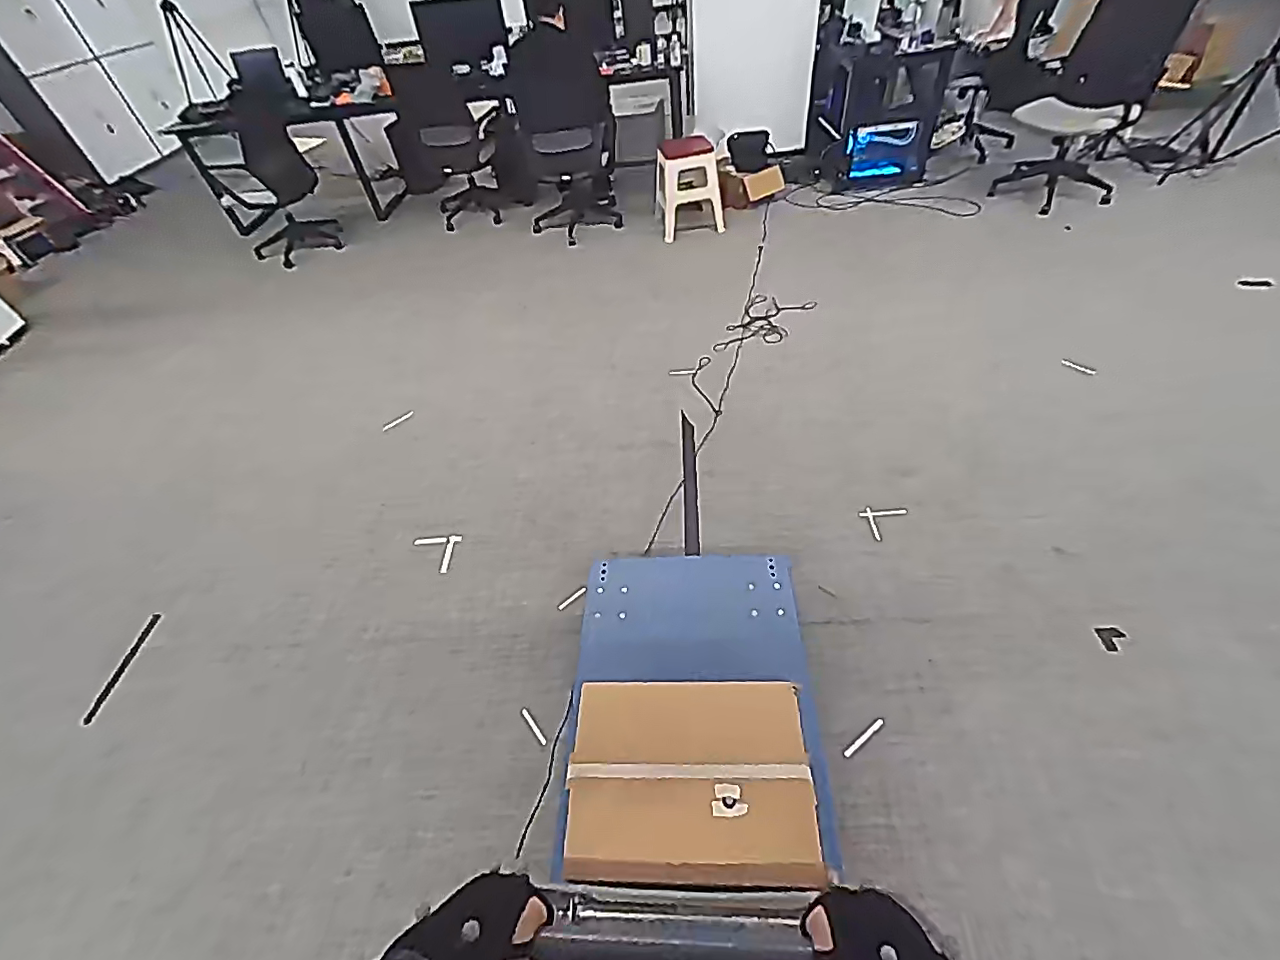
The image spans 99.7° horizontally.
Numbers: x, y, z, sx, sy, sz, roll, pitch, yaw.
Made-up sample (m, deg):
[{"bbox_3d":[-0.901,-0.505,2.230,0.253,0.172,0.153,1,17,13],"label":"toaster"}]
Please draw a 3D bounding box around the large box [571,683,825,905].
[{"bbox_3d":[0.101,0.609,1.046,0.408,0.320,0.320,-2,47,5],"label":"large box"}]
